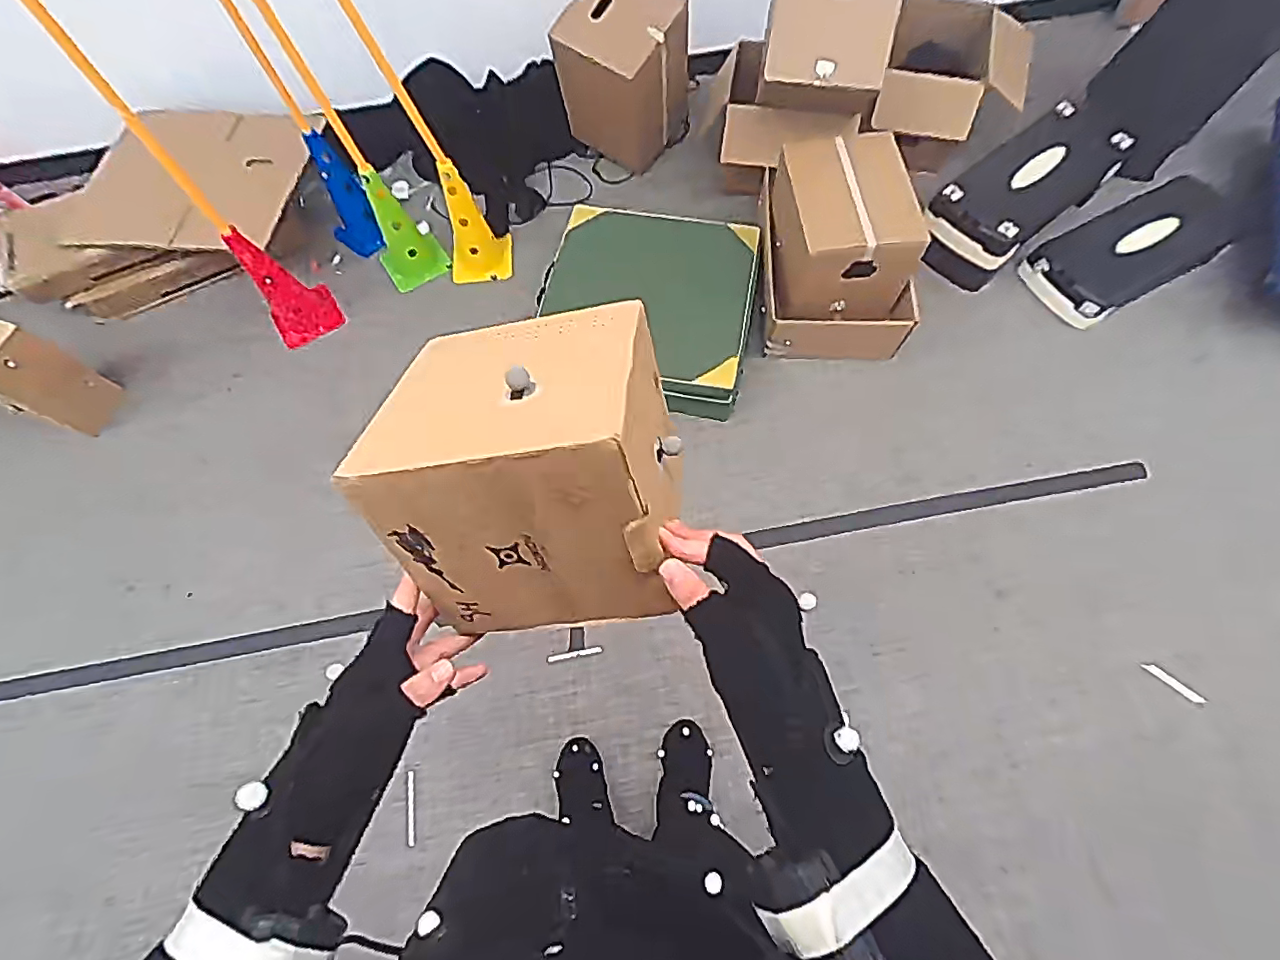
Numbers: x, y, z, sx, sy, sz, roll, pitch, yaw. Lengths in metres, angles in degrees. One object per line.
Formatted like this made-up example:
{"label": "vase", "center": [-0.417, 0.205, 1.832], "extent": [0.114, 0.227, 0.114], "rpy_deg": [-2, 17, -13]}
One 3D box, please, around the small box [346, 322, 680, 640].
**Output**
{"label": "small box", "center": [-0.070, -0.001, 0.409], "extent": [0.179, 0.168, 0.176], "rpy_deg": [-7, 41, 9]}
